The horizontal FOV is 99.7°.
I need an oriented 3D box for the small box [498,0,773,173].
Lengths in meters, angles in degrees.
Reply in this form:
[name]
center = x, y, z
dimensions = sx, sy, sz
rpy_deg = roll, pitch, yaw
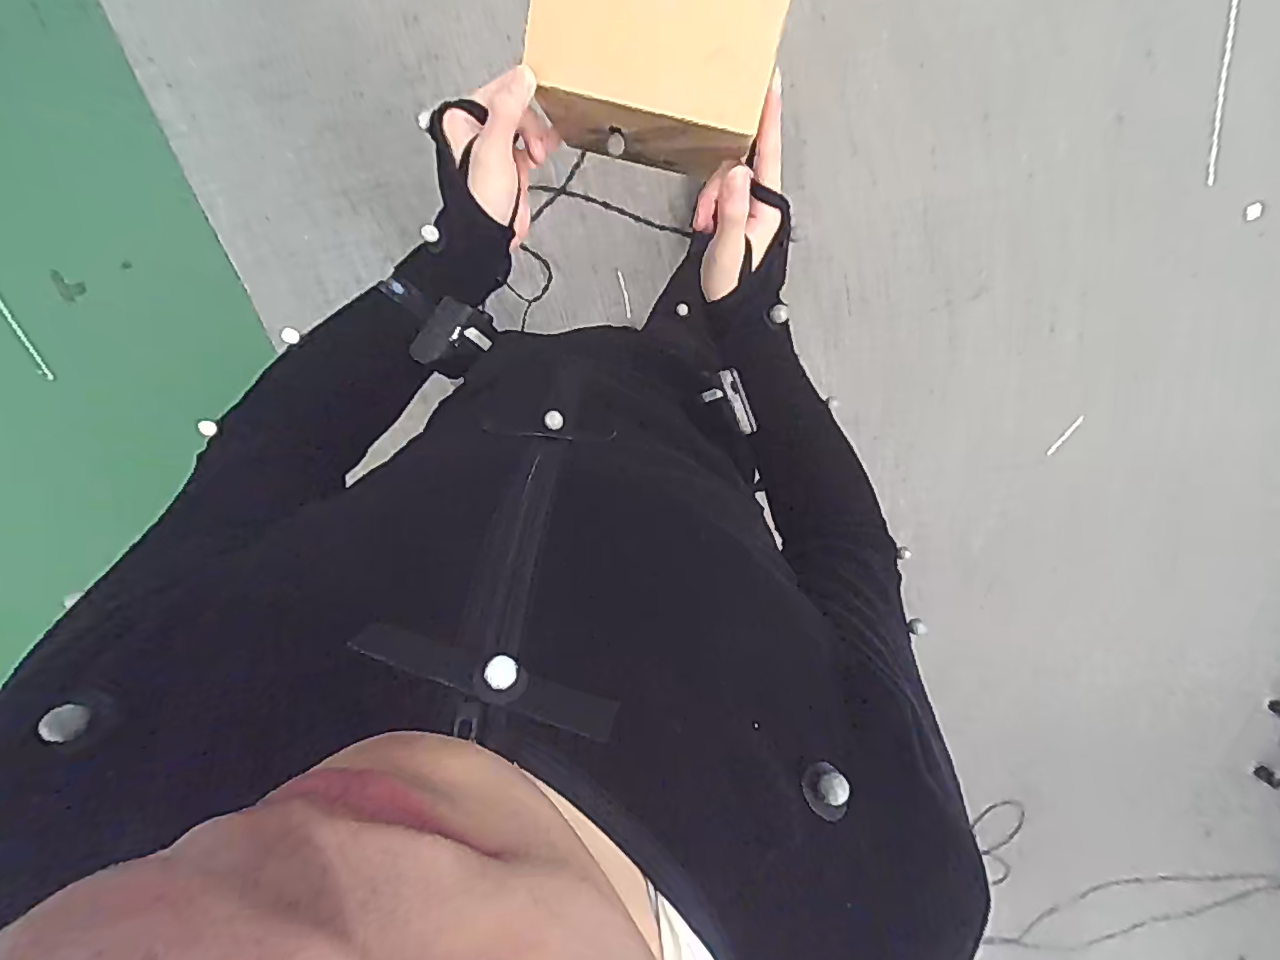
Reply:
[small box]
center = 0.011, -0.351, 0.398
dimensions = 0.168, 0.176, 0.179
rpy_deg = 13, 108, -2
